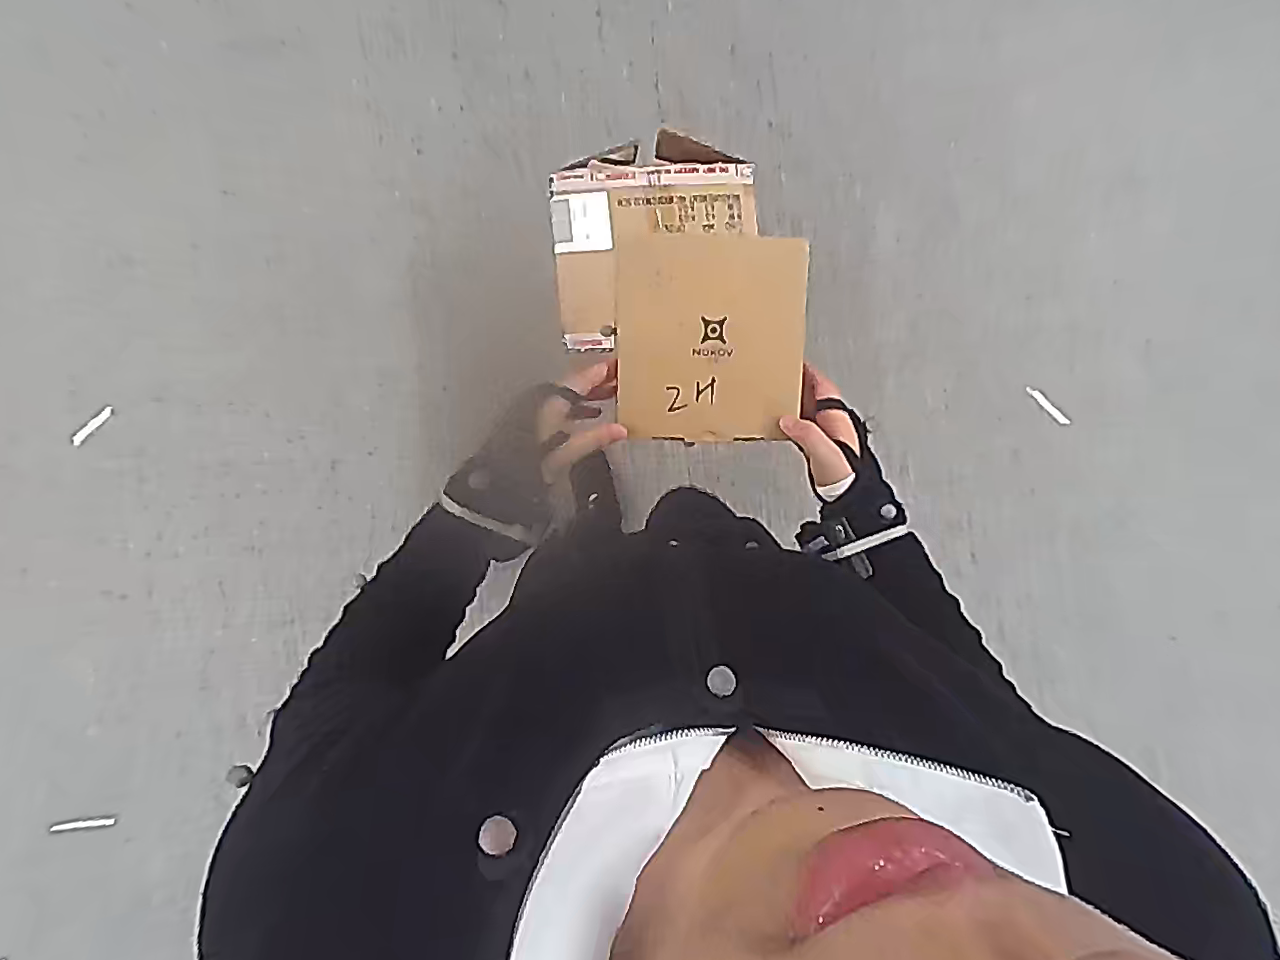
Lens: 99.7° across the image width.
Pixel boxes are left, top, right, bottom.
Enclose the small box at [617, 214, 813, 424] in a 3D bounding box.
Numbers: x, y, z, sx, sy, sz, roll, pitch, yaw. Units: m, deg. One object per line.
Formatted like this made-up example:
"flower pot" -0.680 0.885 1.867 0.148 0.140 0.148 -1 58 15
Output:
"small box" 0.062 -0.150 0.549 0.168 0.176 0.179 0 100 -3
